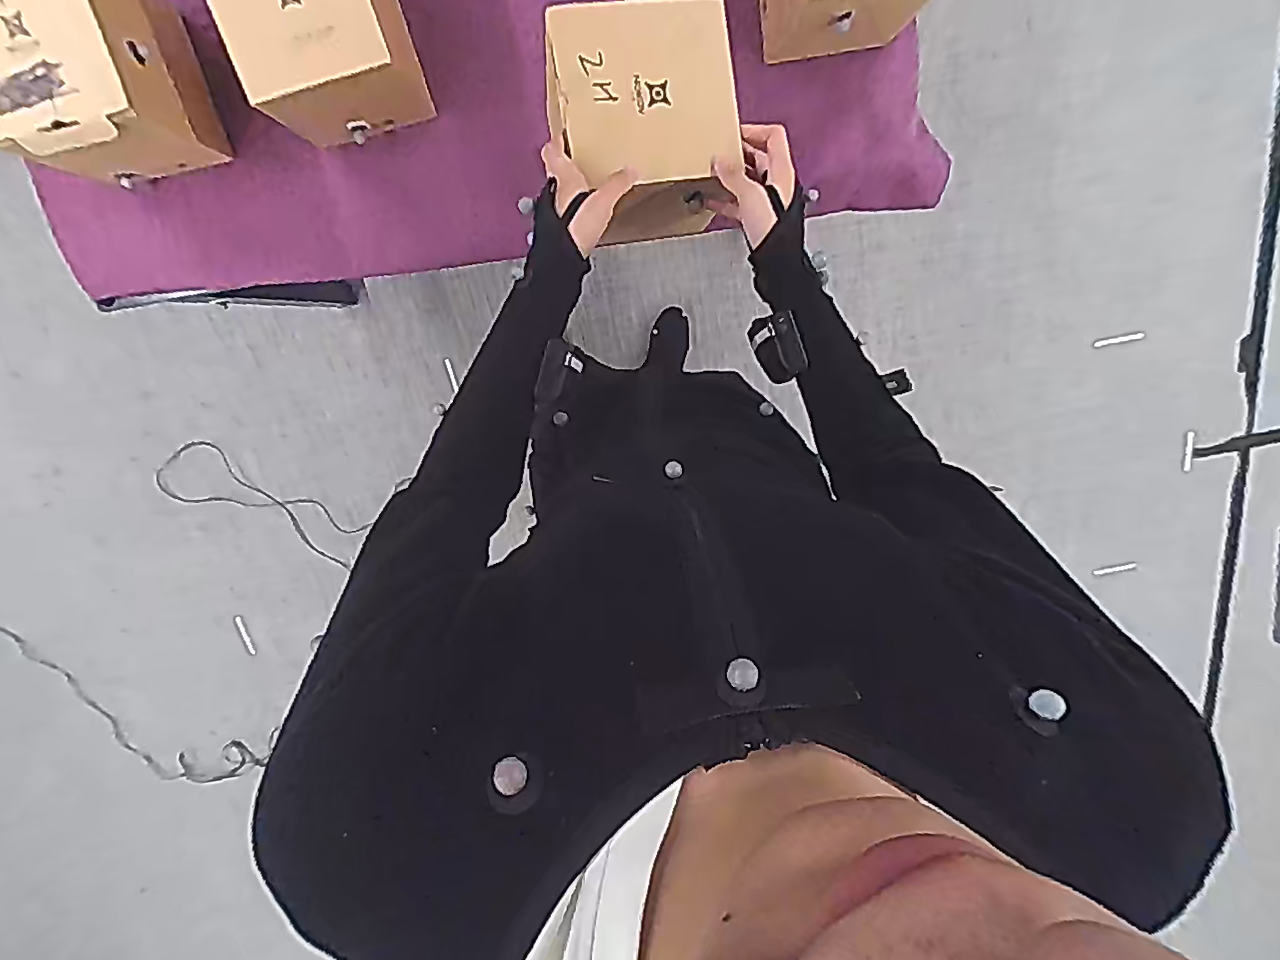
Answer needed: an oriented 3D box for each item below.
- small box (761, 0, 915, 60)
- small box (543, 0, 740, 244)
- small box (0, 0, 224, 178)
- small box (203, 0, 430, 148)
[{"bbox_3d":[0.245,-0.645,0.652,0.179,0.176,0.168,-10,107,0],"label":"small box"},{"bbox_3d":[-0.008,-0.376,0.597,0.179,0.176,0.168,-10,97,-7],"label":"small box"},{"bbox_3d":[-0.646,-0.476,0.634,0.168,0.176,0.179,-13,105,-1],"label":"small box"},{"bbox_3d":[-0.378,-0.532,0.641,0.168,0.176,0.179,-16,106,1],"label":"small box"}]
